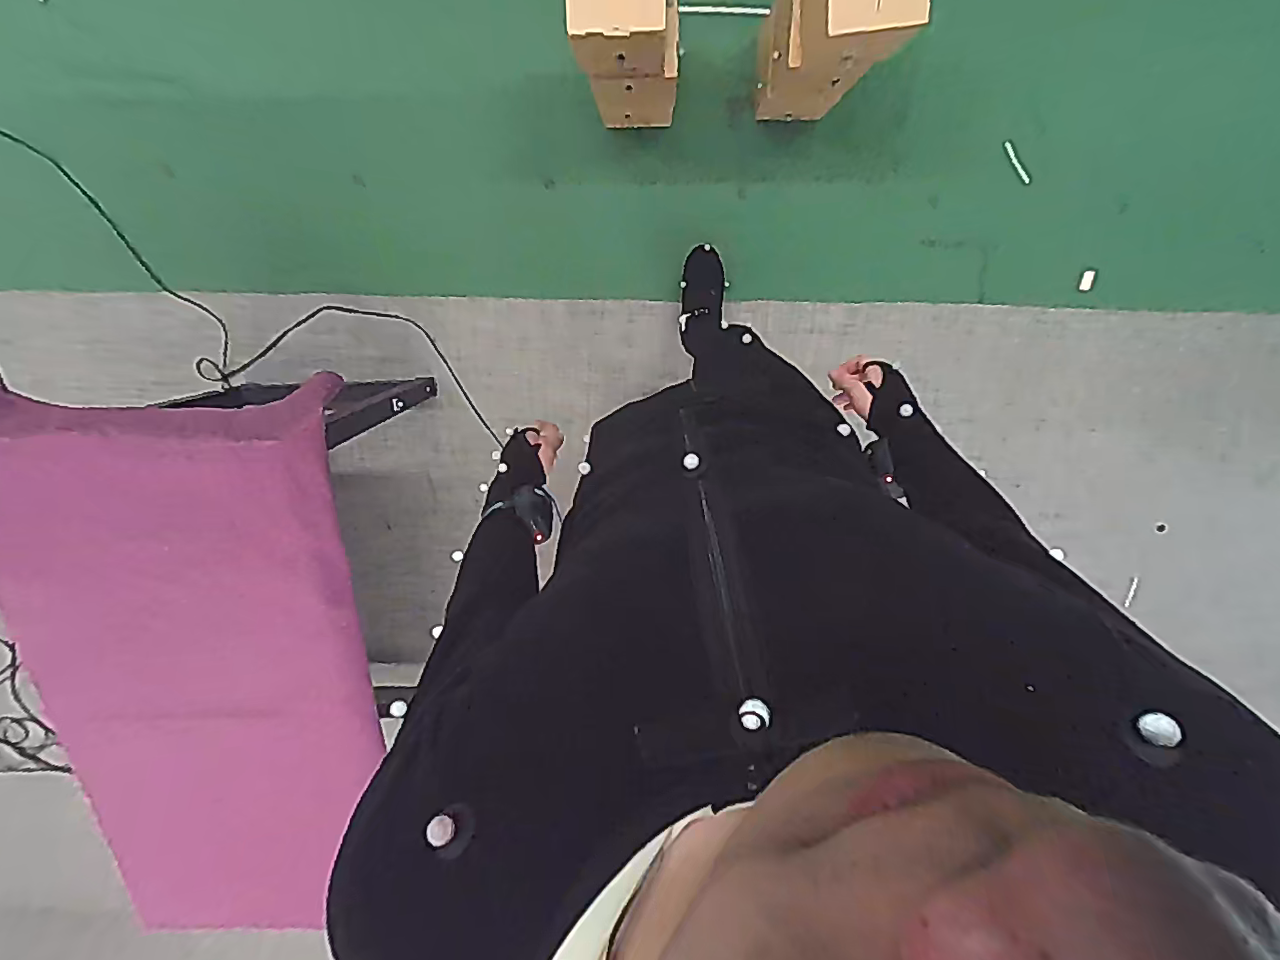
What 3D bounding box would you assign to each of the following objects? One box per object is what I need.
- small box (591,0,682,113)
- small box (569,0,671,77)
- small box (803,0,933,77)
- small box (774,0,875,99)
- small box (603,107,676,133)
[{"bbox_3d":[-0.005,-0.867,1.100,0.179,0.176,0.168,0,108,2],"label":"small box"},{"bbox_3d":[-0.029,-0.830,0.940,0.168,0.176,0.179,1,109,2],"label":"small box"},{"bbox_3d":[0.385,-0.833,0.929,0.168,0.176,0.179,-5,111,2],"label":"small box"},{"bbox_3d":[0.372,-0.888,1.083,0.168,0.176,0.179,0,109,0],"label":"small box"},{"bbox_3d":[0.002,-0.924,1.254,0.168,0.176,0.179,0,108,2],"label":"small box"}]
